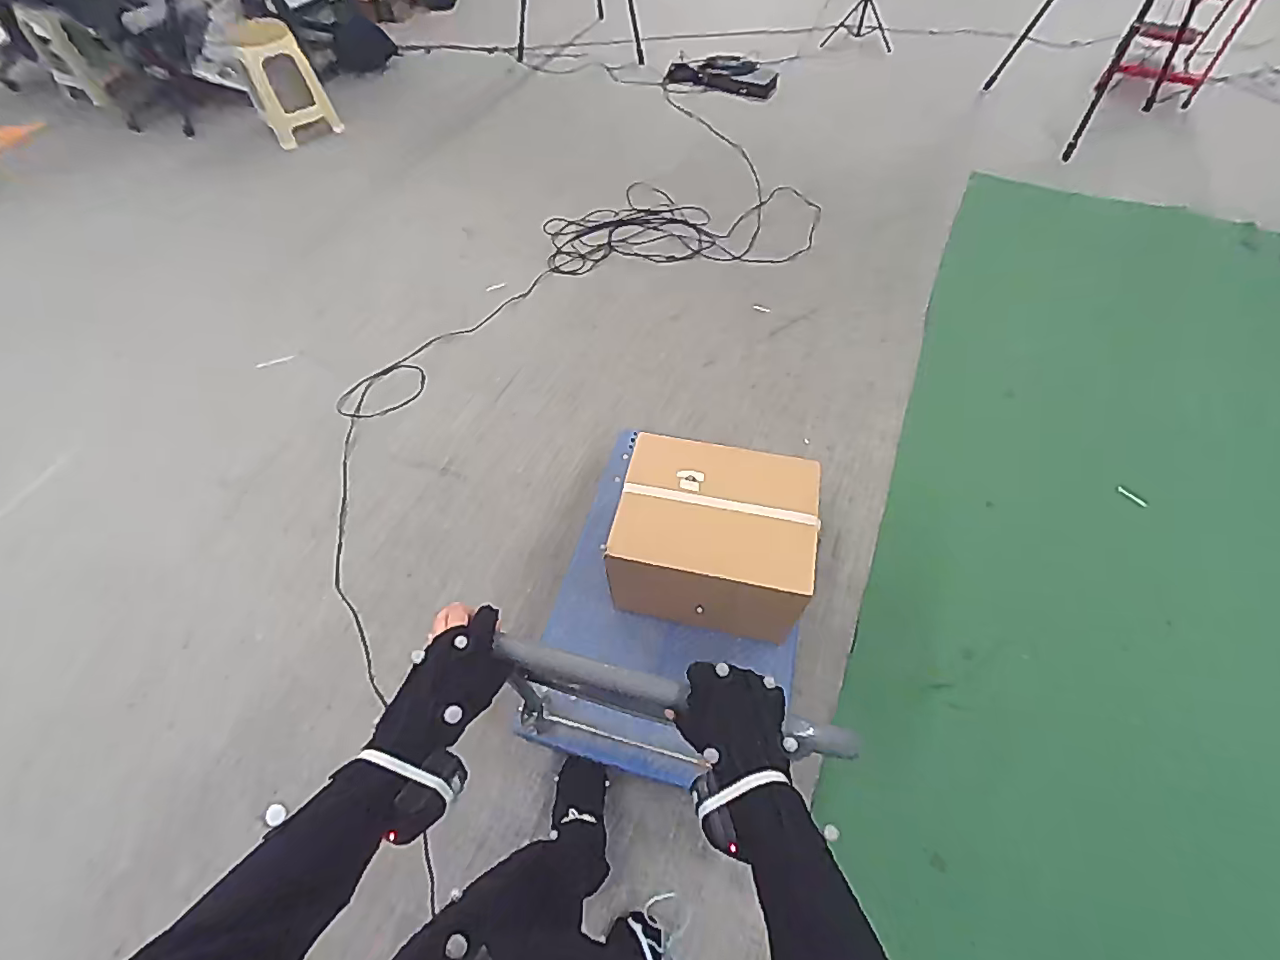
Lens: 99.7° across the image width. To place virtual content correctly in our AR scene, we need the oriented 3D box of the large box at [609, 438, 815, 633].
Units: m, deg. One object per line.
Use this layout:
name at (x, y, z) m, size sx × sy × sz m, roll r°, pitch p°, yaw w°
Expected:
large box at (0.169, 0.136, 1.252) m, size 0.408 × 0.320 × 0.320 m, roll 9°, pitch 58°, yaw 9°
